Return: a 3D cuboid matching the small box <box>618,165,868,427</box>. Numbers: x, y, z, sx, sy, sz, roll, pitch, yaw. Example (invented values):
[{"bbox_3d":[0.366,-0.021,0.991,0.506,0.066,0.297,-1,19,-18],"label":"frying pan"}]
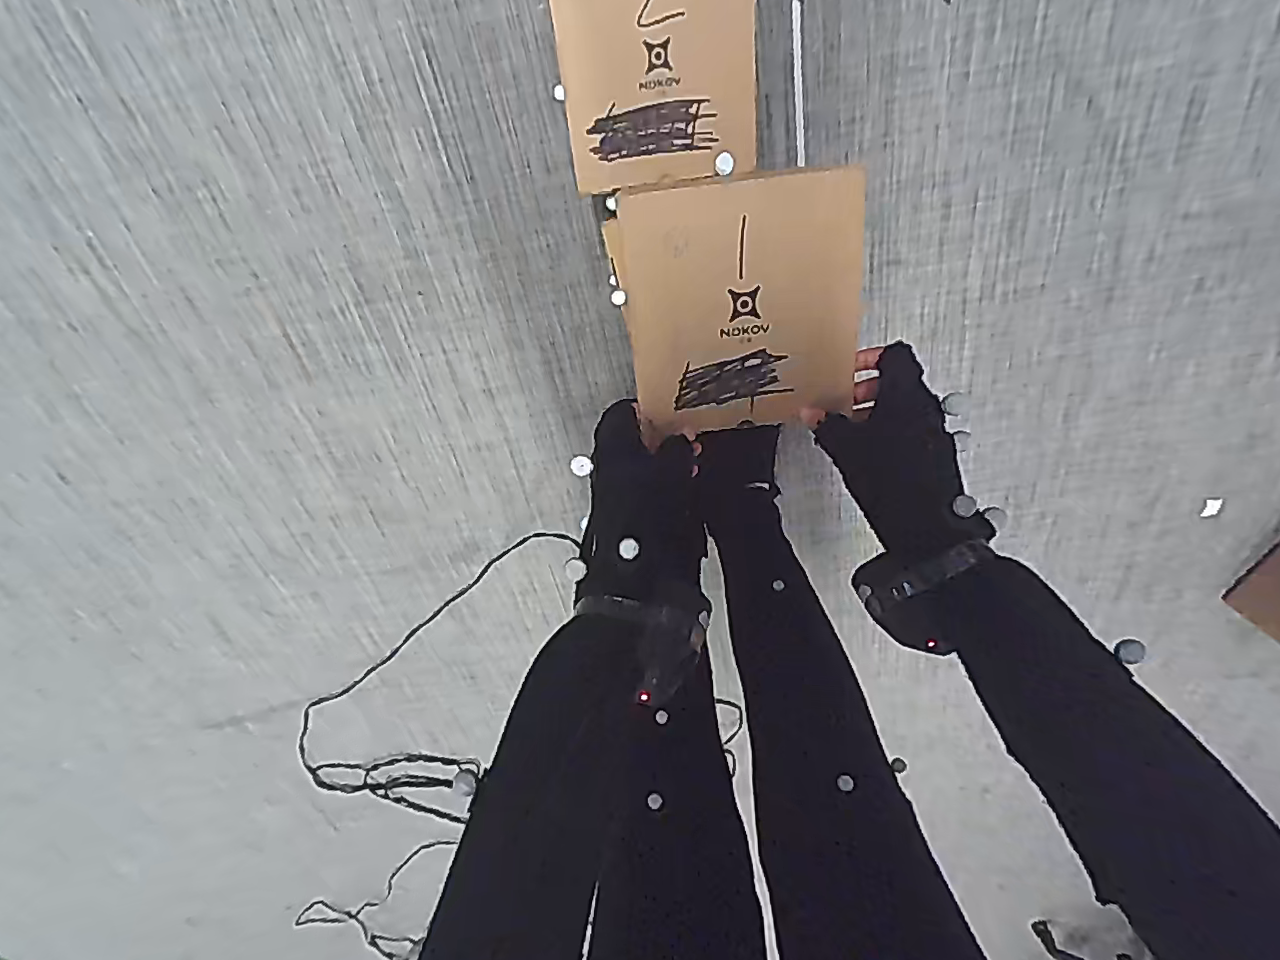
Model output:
[{"bbox_3d":[0.075,-0.163,0.463,0.168,0.176,0.179,-5,119,3],"label":"small box"}]
